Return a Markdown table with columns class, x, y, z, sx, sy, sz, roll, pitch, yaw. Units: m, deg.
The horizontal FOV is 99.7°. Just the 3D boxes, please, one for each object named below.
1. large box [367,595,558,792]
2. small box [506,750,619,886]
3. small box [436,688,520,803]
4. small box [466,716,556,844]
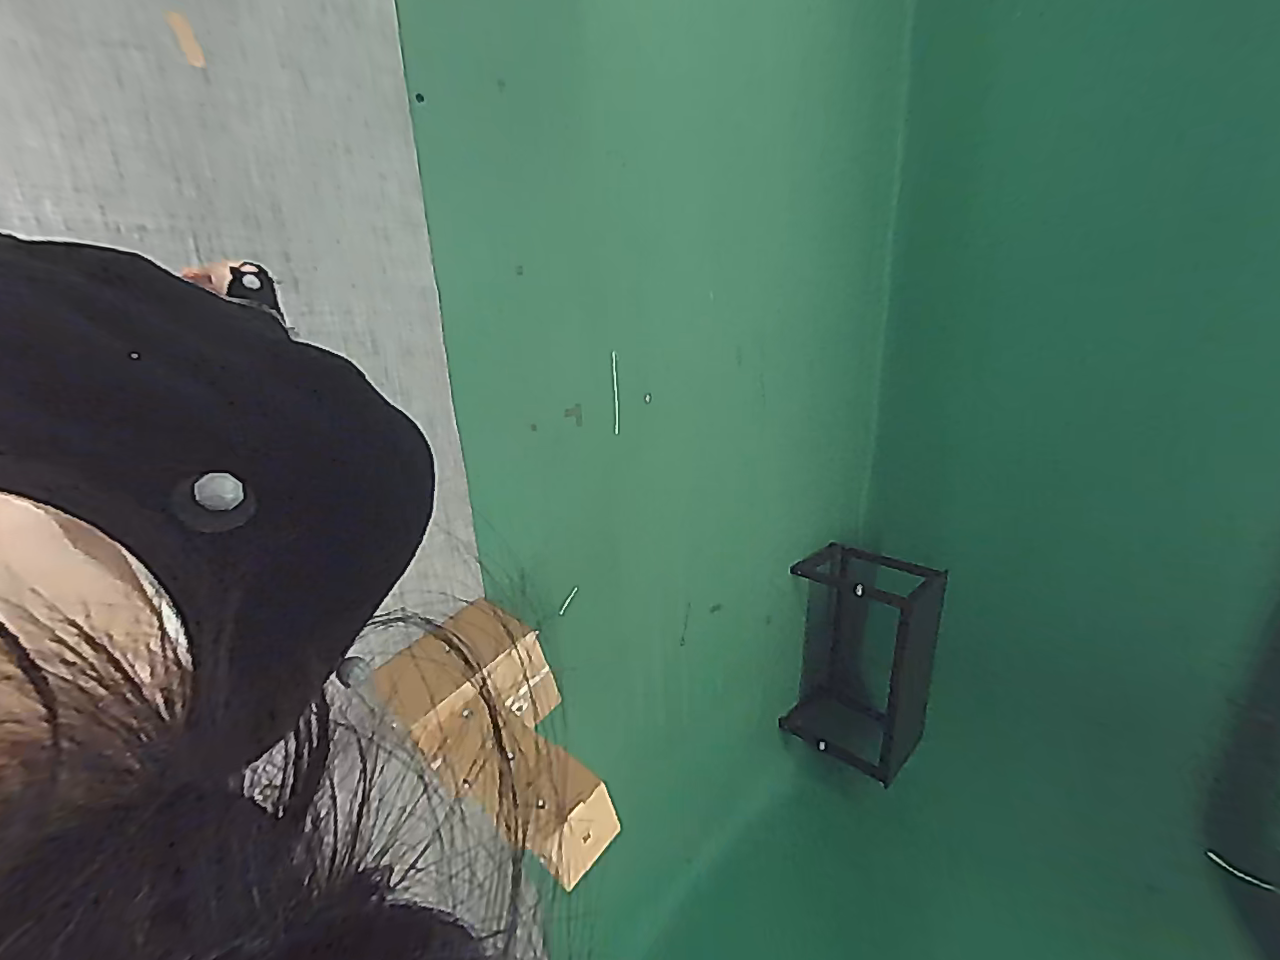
| class | x | y | z | sx | sy | sz | roll | pitch | yaw |
| --- | --- | --- | --- | --- | --- | --- | --- | --- | --- |
| large box | -0.534 | 0.629 | 1.660 | 0.408 | 0.320 | 0.320 | -36 | 125 | -36 |
| small box | -0.178 | 0.748 | 1.222 | 0.168 | 0.176 | 0.179 | -33 | 123 | -36 |
| small box | -0.420 | 0.697 | 1.437 | 0.179 | 0.176 | 0.168 | -30 | 121 | -37 |
| small box | -0.303 | 0.725 | 1.325 | 0.179 | 0.176 | 0.168 | -36 | 124 | -36 |
